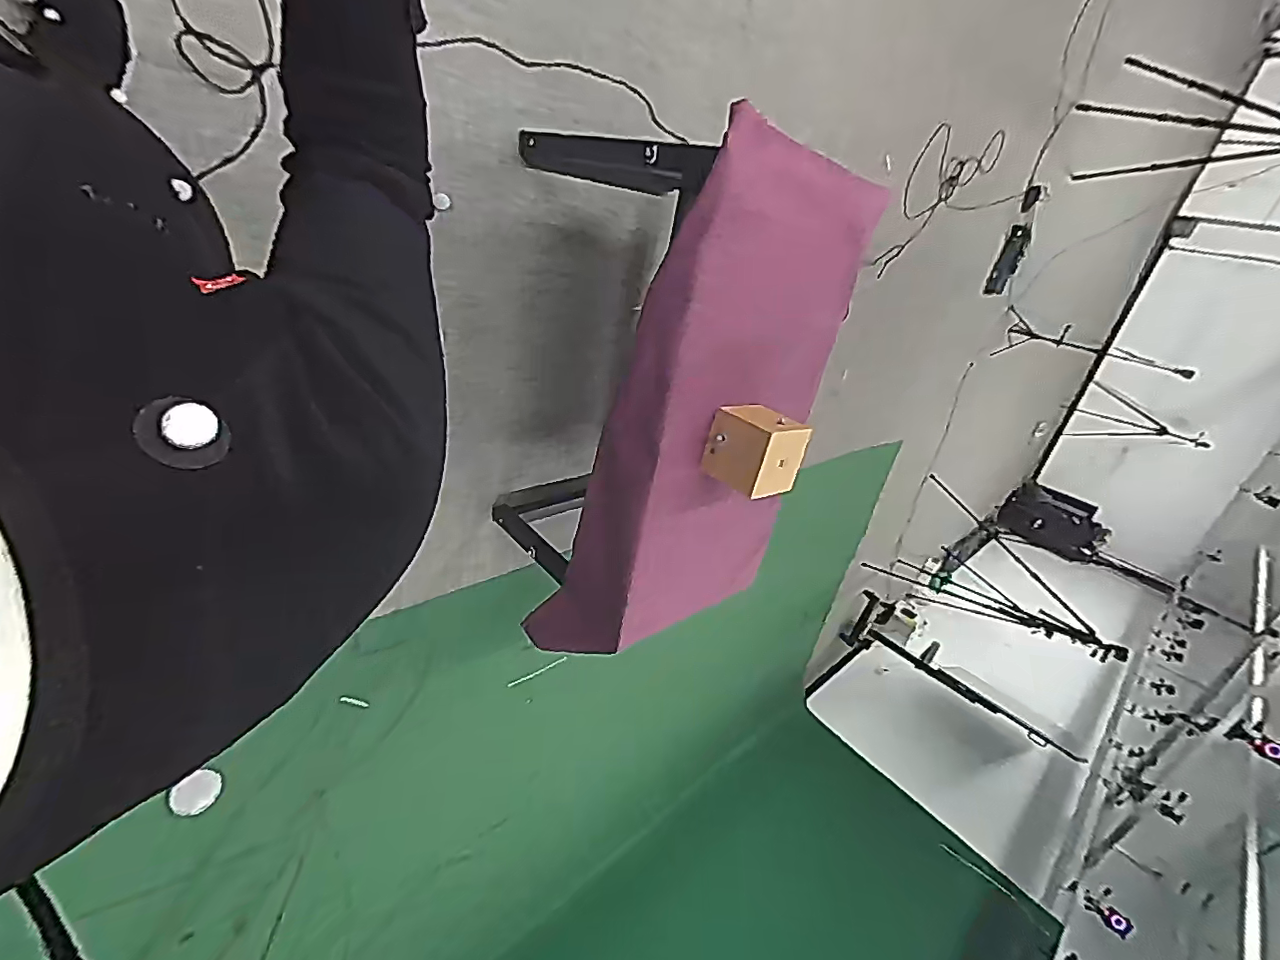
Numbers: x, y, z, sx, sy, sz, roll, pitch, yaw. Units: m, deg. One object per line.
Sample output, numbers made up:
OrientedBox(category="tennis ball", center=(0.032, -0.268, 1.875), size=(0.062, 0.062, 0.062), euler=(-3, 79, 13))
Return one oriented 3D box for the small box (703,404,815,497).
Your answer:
OrientedBox(category="small box", center=(0.283, -0.079, 1.300), size=(0.179, 0.176, 0.168), euler=(-9, 122, -42))
